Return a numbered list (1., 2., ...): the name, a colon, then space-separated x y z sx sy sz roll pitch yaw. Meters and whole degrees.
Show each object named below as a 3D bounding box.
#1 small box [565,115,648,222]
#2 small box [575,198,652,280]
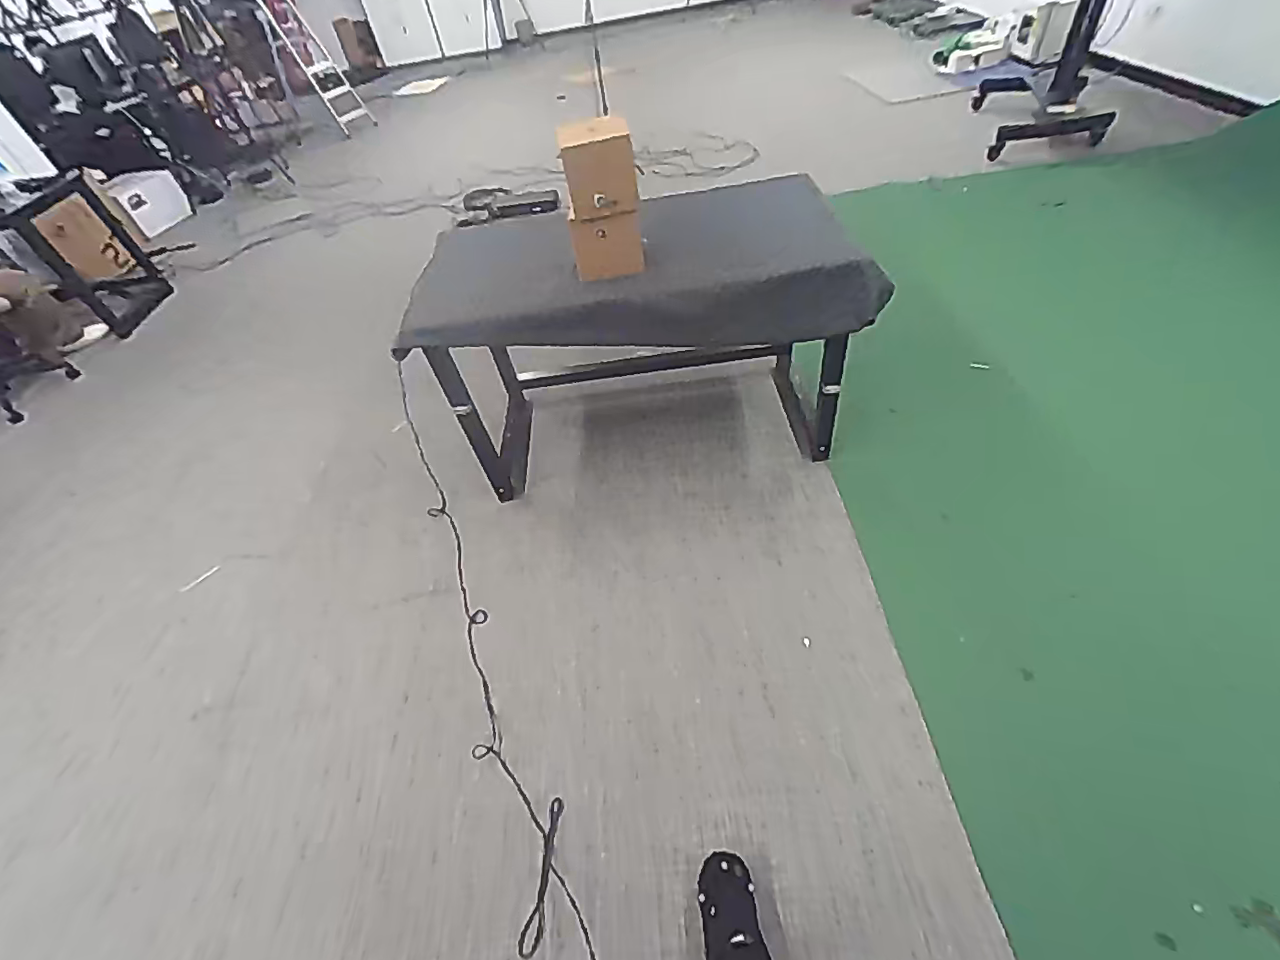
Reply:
1. small box: -0.081 -0.757 1.317 0.168 0.176 0.179 -12 48 2
2. small box: -0.068 -0.651 1.440 0.179 0.176 0.168 -7 47 3
